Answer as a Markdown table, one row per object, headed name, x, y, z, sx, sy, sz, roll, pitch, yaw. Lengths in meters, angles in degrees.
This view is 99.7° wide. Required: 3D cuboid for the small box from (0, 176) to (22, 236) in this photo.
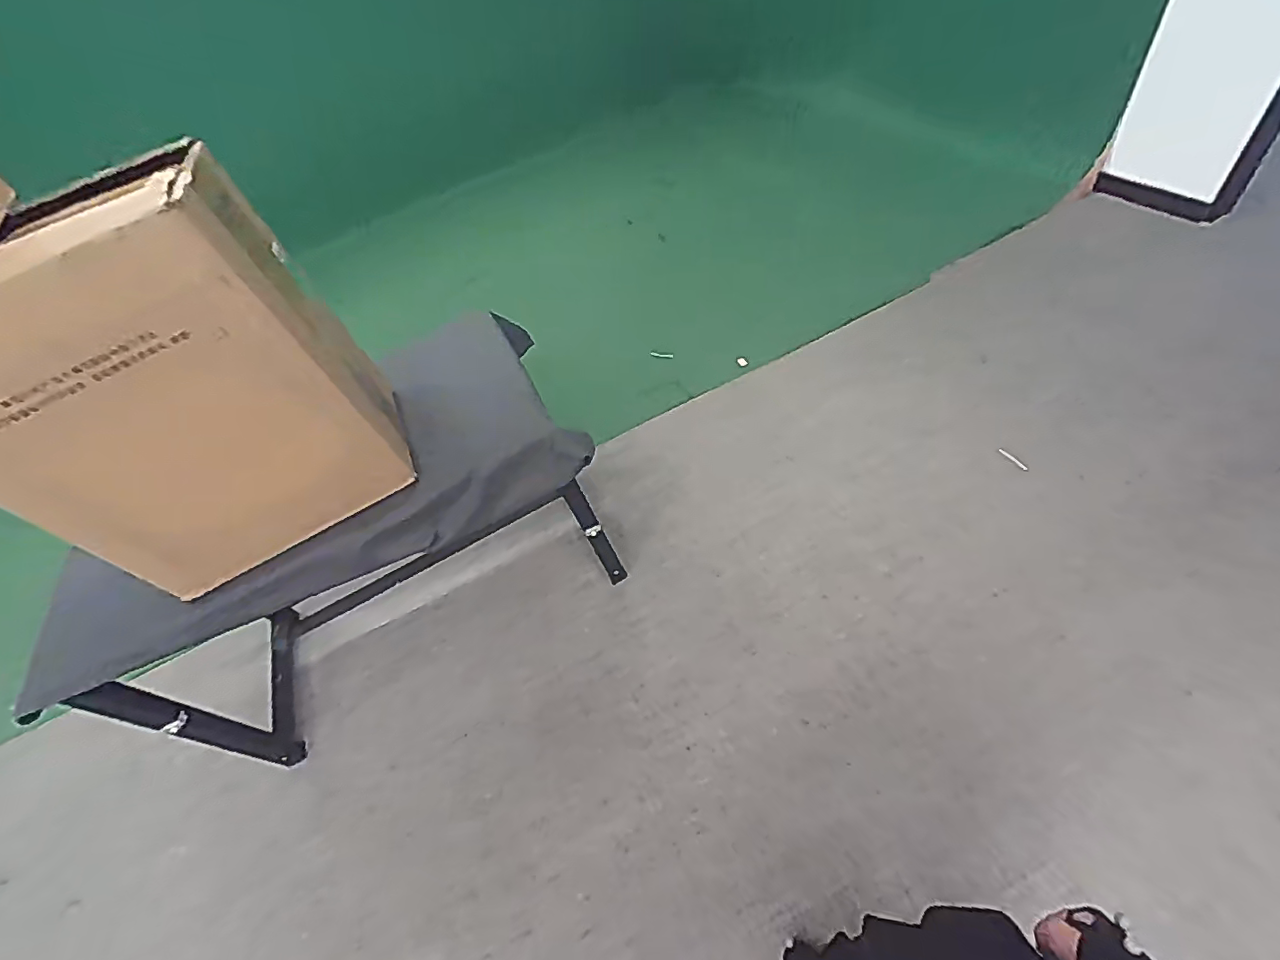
| name | x | y | z | sx | sy | sz | roll | pitch | yaw |
| --- | --- | --- | --- | --- | --- | --- | --- | --- | --- |
| small box | -1.032 | -0.392 | 0.732 | 0.179 | 0.176 | 0.168 | -18 | 61 | 0 |
